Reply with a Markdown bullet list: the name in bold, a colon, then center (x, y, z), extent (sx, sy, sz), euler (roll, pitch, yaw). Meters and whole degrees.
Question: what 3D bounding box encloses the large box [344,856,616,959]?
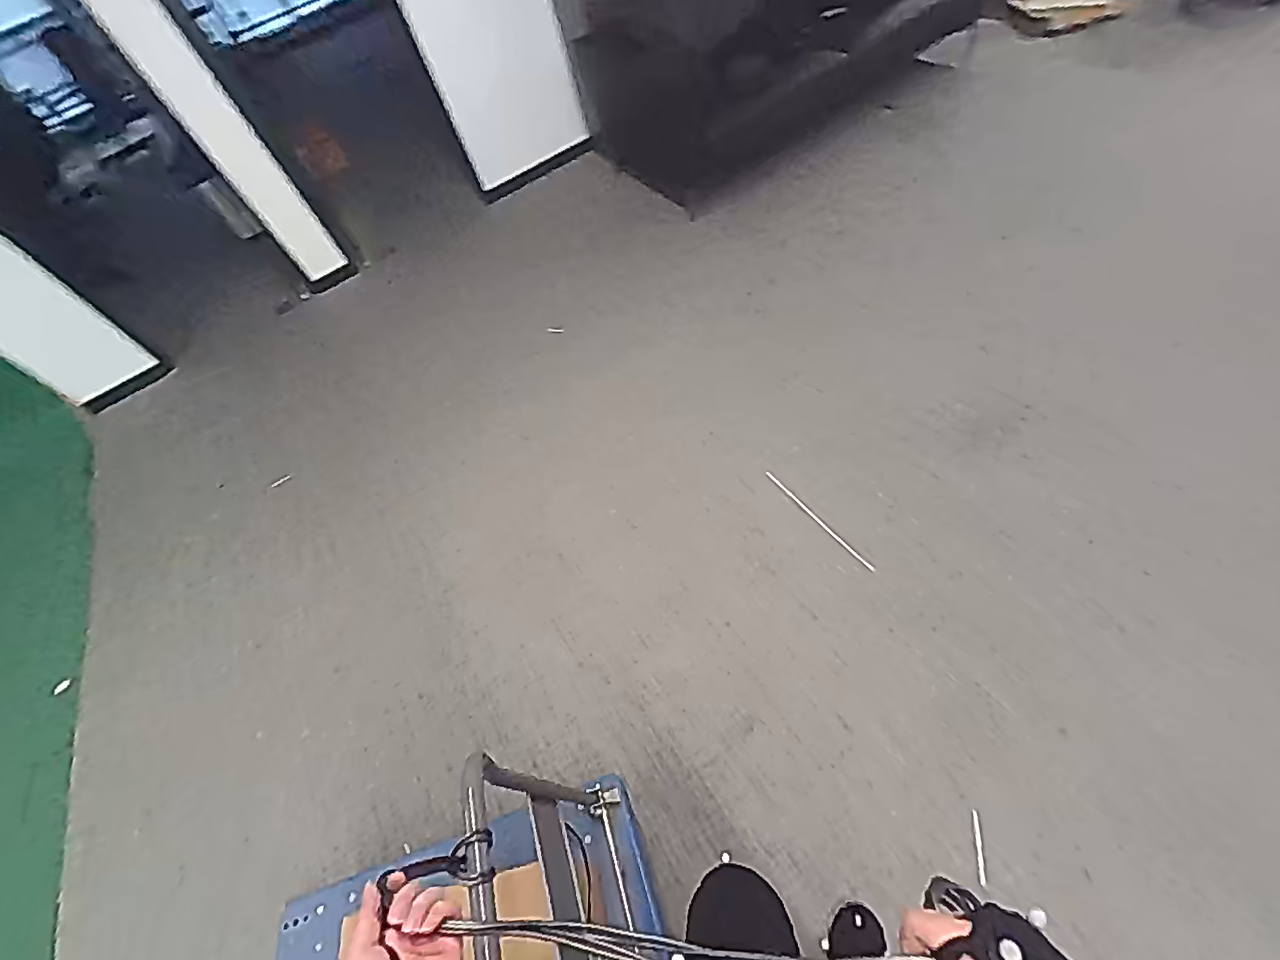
- **large box**: center (-0.274, 0.934, 1.001), extent (0.408, 0.320, 0.320), euler (-18, 53, 3)
